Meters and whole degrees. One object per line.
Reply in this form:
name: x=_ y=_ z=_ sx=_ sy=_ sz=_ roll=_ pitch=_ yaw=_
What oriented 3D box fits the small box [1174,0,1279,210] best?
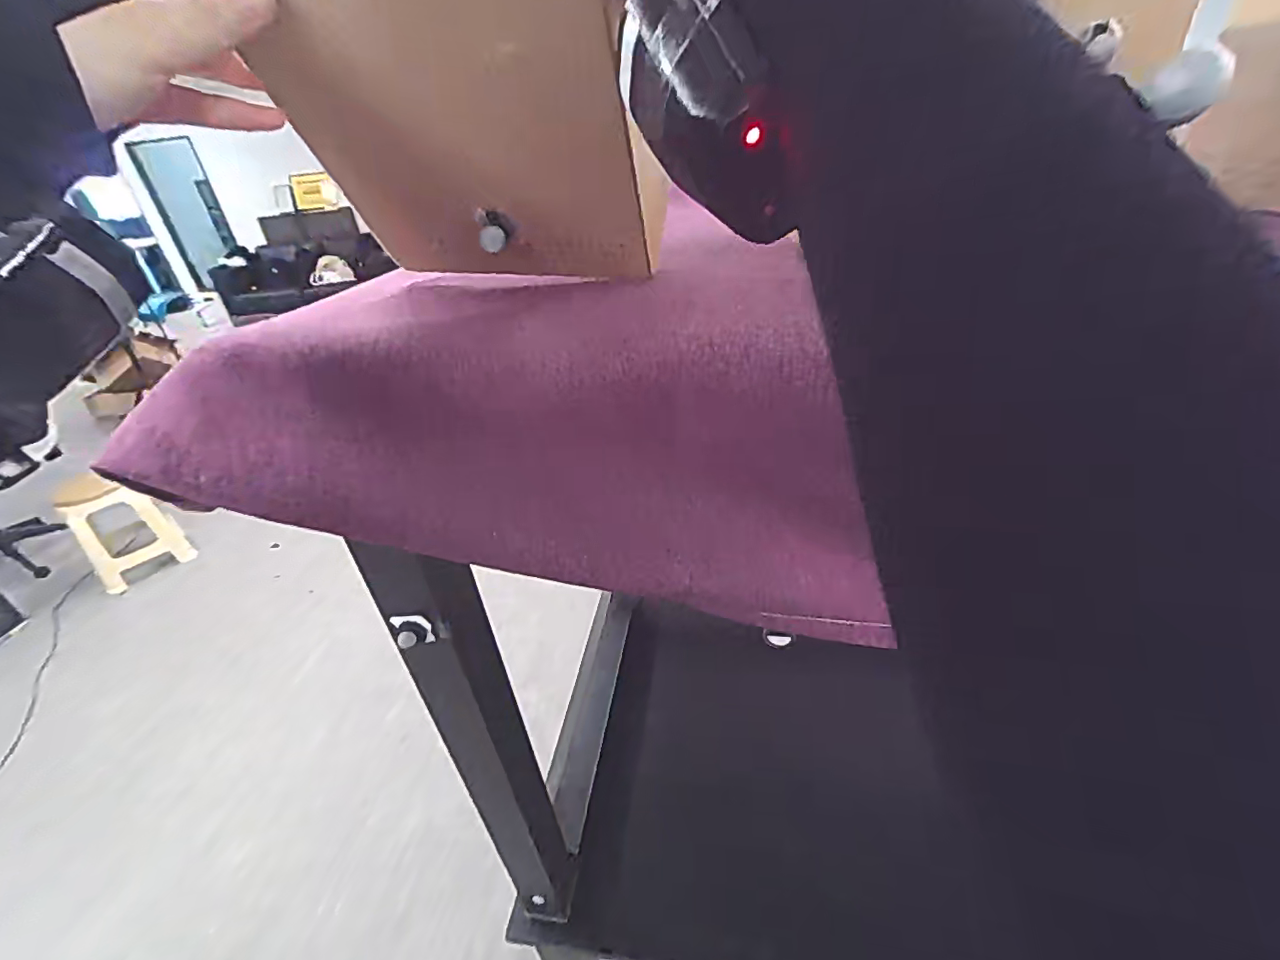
small box: x=0.452 y=-0.237 z=0.277 sx=0.168 sy=0.176 sz=0.179 roll=-2 pitch=31 yaw=6

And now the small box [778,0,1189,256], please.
small box: x=0.188 y=-0.249 z=0.342 sx=0.179 sy=0.176 sz=0.168 roll=-1 pitch=32 yaw=8

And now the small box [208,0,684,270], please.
small box: x=-0.074 y=-0.237 z=0.296 sx=0.179 sy=0.176 sz=0.168 roll=6 pitch=68 yaw=11
